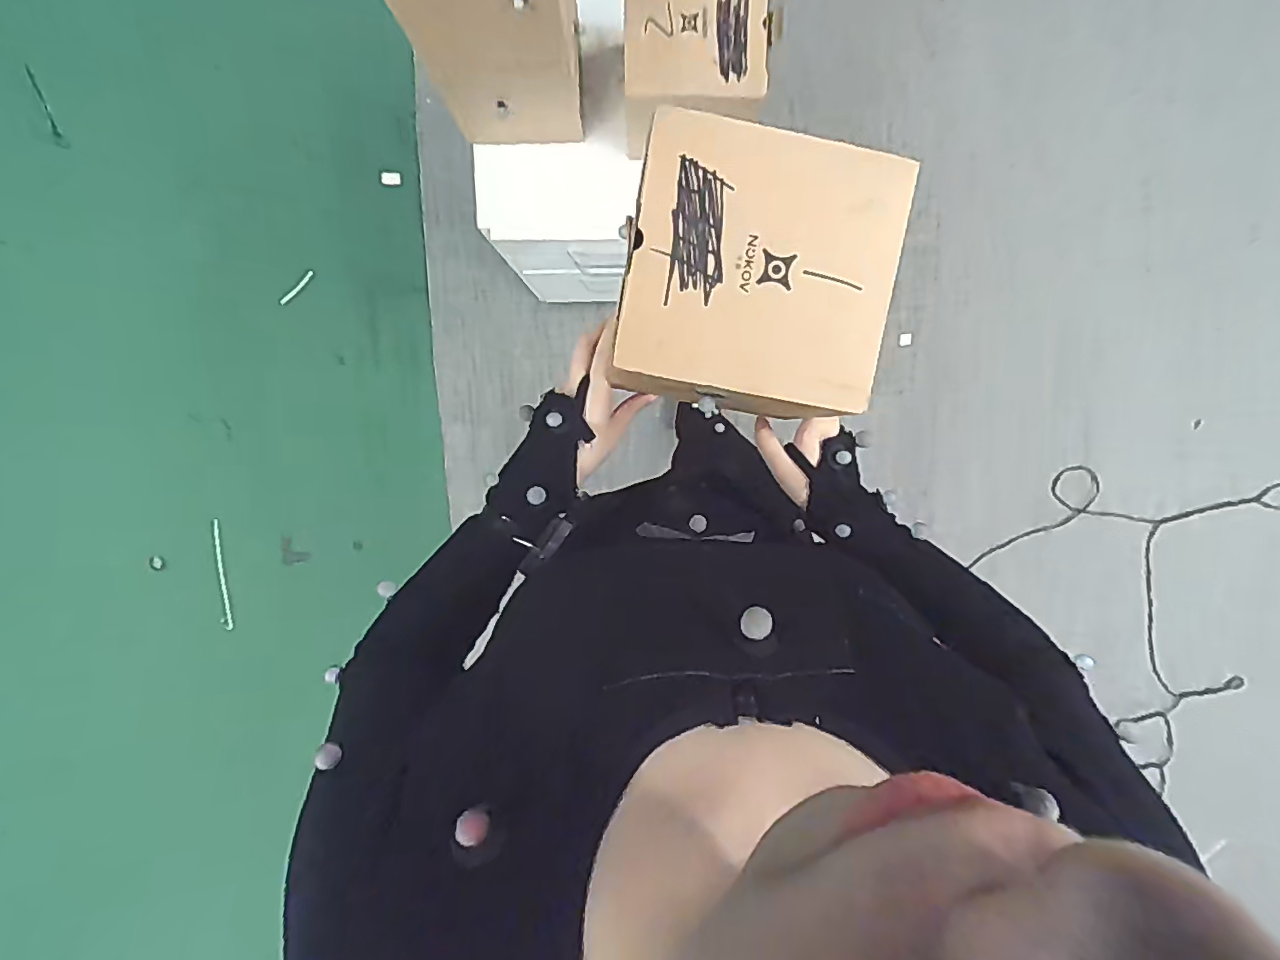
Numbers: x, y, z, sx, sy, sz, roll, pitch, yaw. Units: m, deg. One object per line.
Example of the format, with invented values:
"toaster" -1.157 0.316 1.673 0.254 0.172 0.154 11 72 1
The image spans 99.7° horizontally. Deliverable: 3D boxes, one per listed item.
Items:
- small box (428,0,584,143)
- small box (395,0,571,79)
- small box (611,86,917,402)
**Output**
"small box" -0.172 -0.577 0.723 0.179 0.176 0.168 -2 97 -1
"small box" -0.167 -0.555 0.561 0.179 0.176 0.168 0 96 -3
"small box" 0.075 -0.159 0.428 0.179 0.176 0.168 10 94 -5
